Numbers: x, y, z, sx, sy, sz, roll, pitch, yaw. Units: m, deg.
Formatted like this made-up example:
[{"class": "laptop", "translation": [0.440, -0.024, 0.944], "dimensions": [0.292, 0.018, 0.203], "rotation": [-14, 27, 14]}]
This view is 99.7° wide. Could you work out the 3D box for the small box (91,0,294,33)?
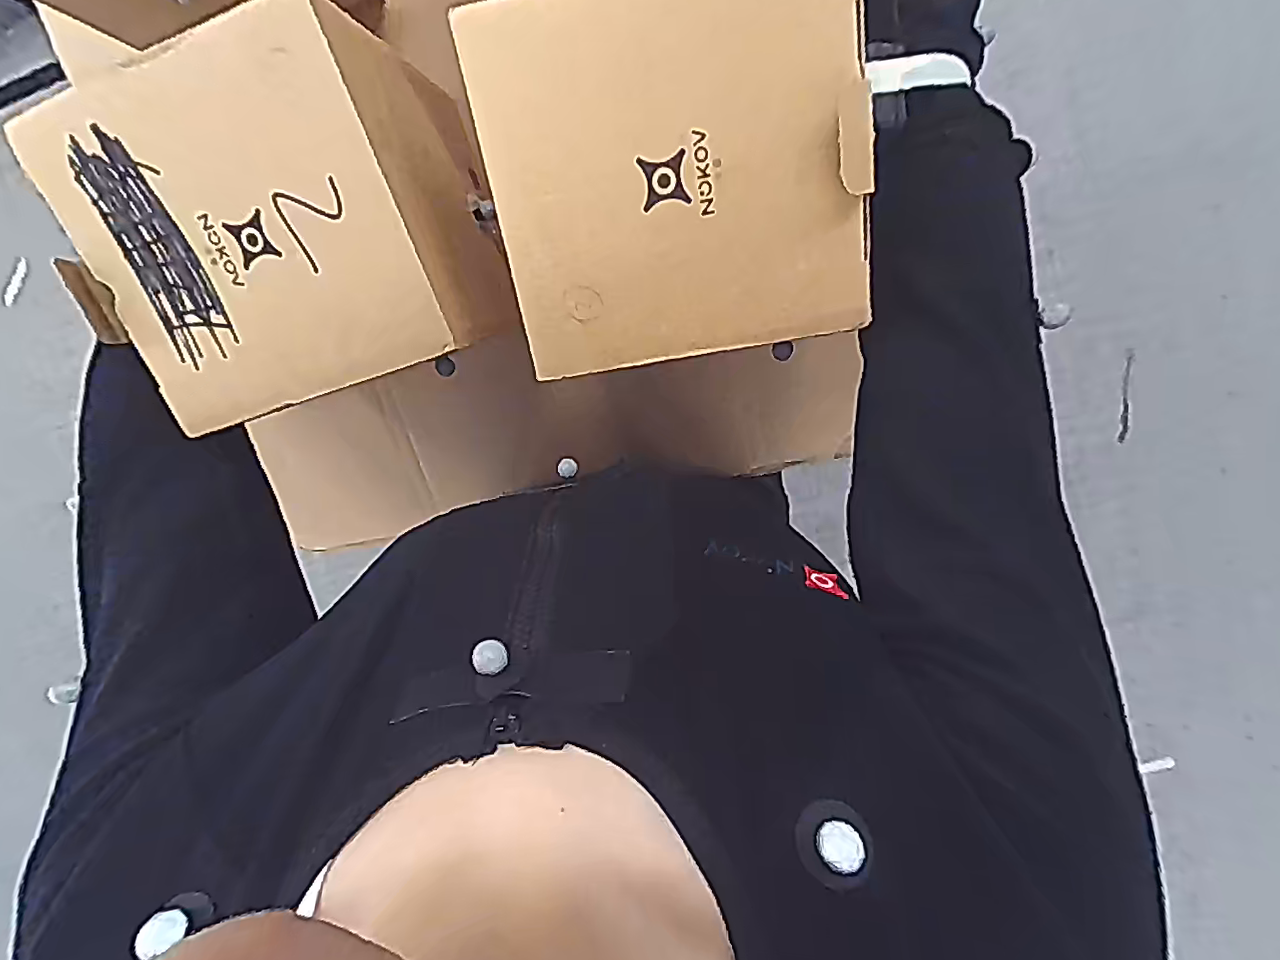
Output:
[{"class": "small box", "translation": [-0.284, -0.380, 0.282], "dimensions": [0.168, 0.176, 0.179], "rotation": [-12, 106, 8]}]
